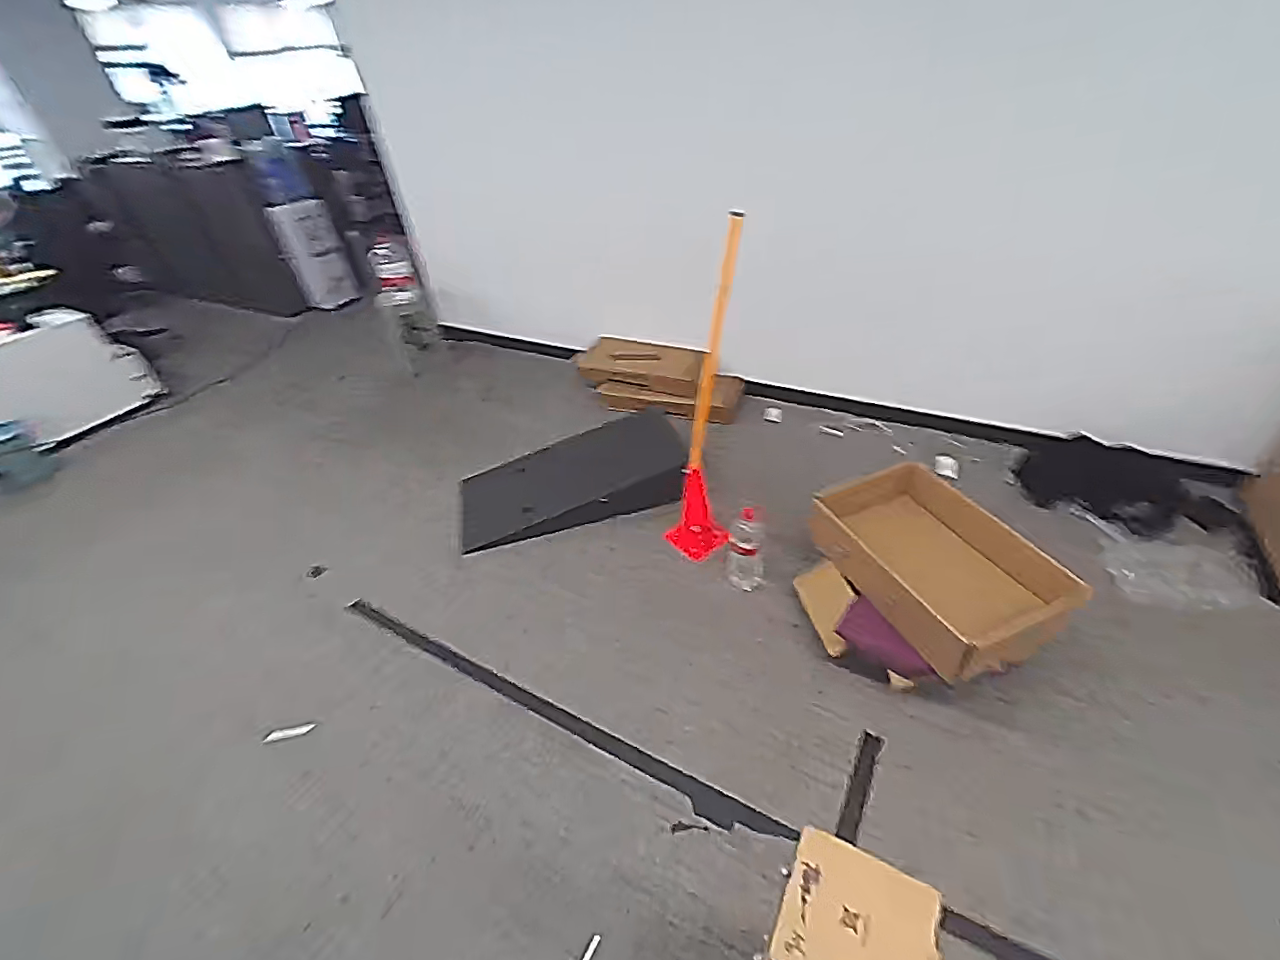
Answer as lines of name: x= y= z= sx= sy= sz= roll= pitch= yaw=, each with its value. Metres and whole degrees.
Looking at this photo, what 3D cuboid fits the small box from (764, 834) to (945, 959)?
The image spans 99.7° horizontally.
small box: x=0.274 y=0.620 z=0.715 sx=0.179 sy=0.176 sz=0.168 roll=17 pitch=45 yaw=25
